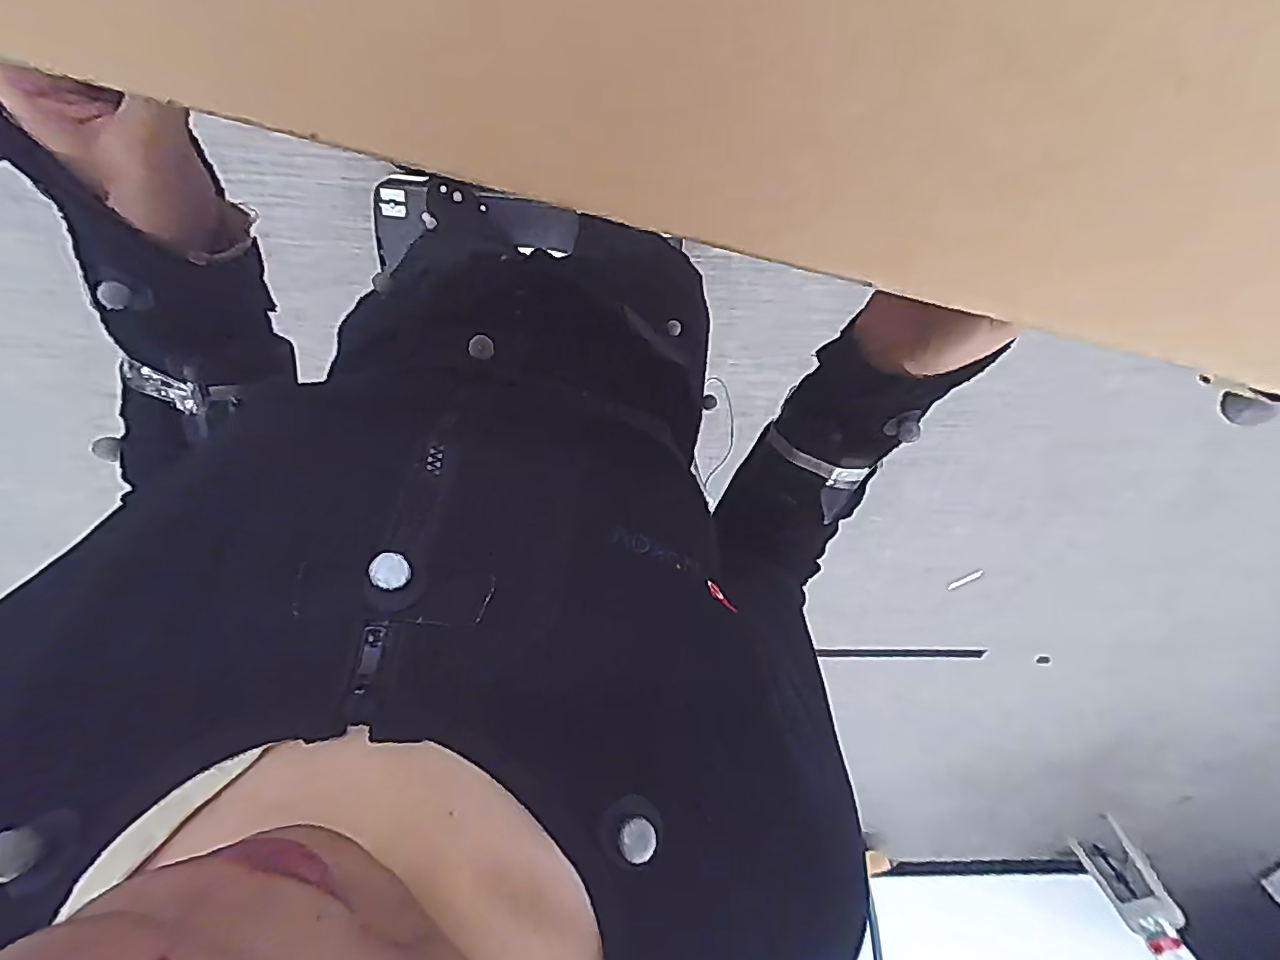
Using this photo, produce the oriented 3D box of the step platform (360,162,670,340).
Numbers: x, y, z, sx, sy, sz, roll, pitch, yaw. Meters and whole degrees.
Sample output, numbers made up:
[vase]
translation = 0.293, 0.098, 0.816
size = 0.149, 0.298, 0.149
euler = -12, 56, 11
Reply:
[step platform]
translation = -0.275, -0.528, 1.267
size = 0.684, 0.204, 0.286
euler = 7, 123, -6
